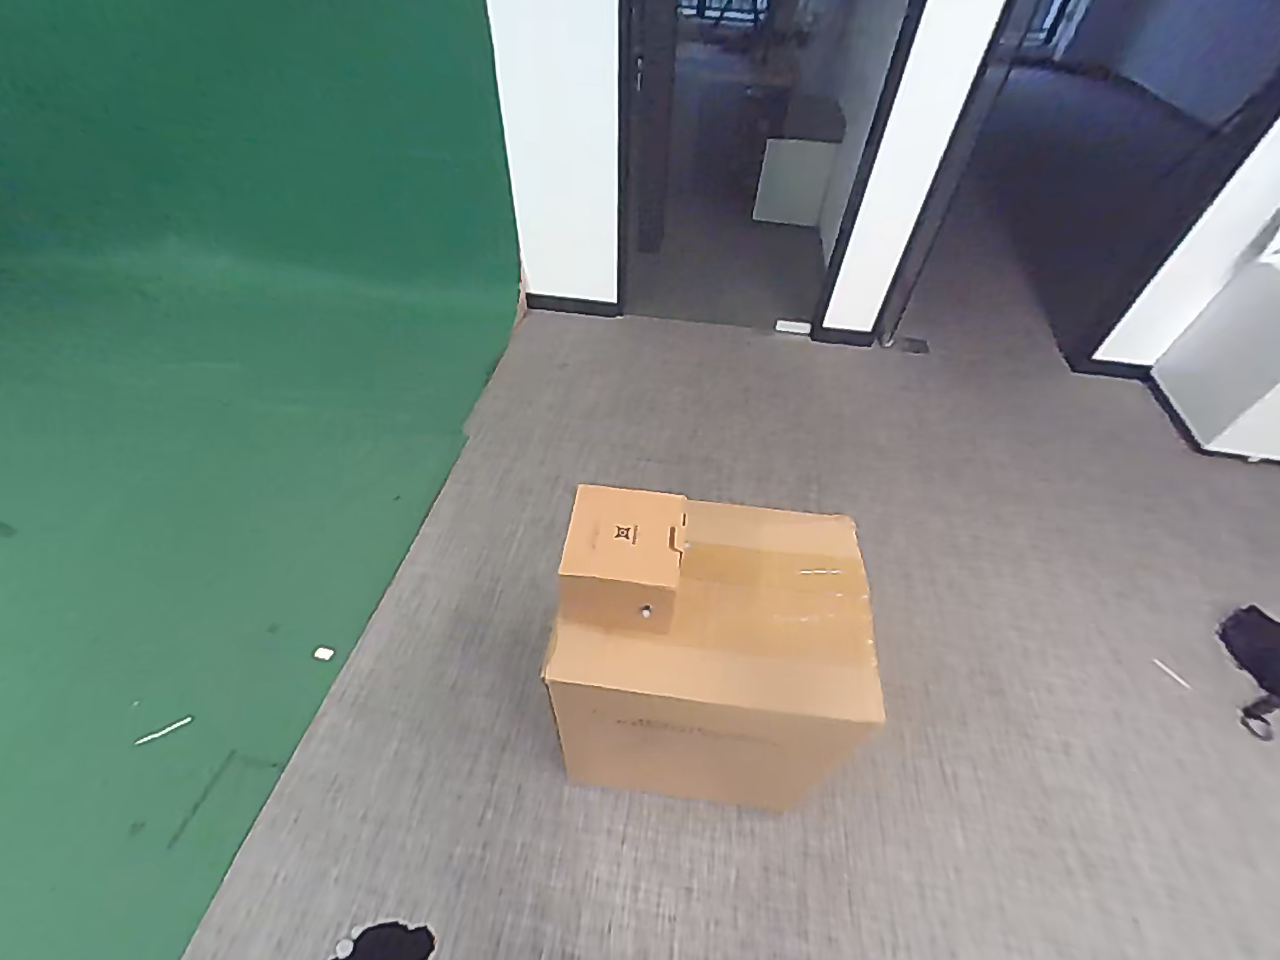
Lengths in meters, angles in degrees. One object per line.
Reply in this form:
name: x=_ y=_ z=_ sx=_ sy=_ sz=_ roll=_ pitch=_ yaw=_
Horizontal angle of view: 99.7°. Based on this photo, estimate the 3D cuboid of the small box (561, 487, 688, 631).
small box: x=-0.020 y=0.133 z=0.883 sx=0.179 sy=0.176 sz=0.168 roll=5 pitch=51 yaw=3
